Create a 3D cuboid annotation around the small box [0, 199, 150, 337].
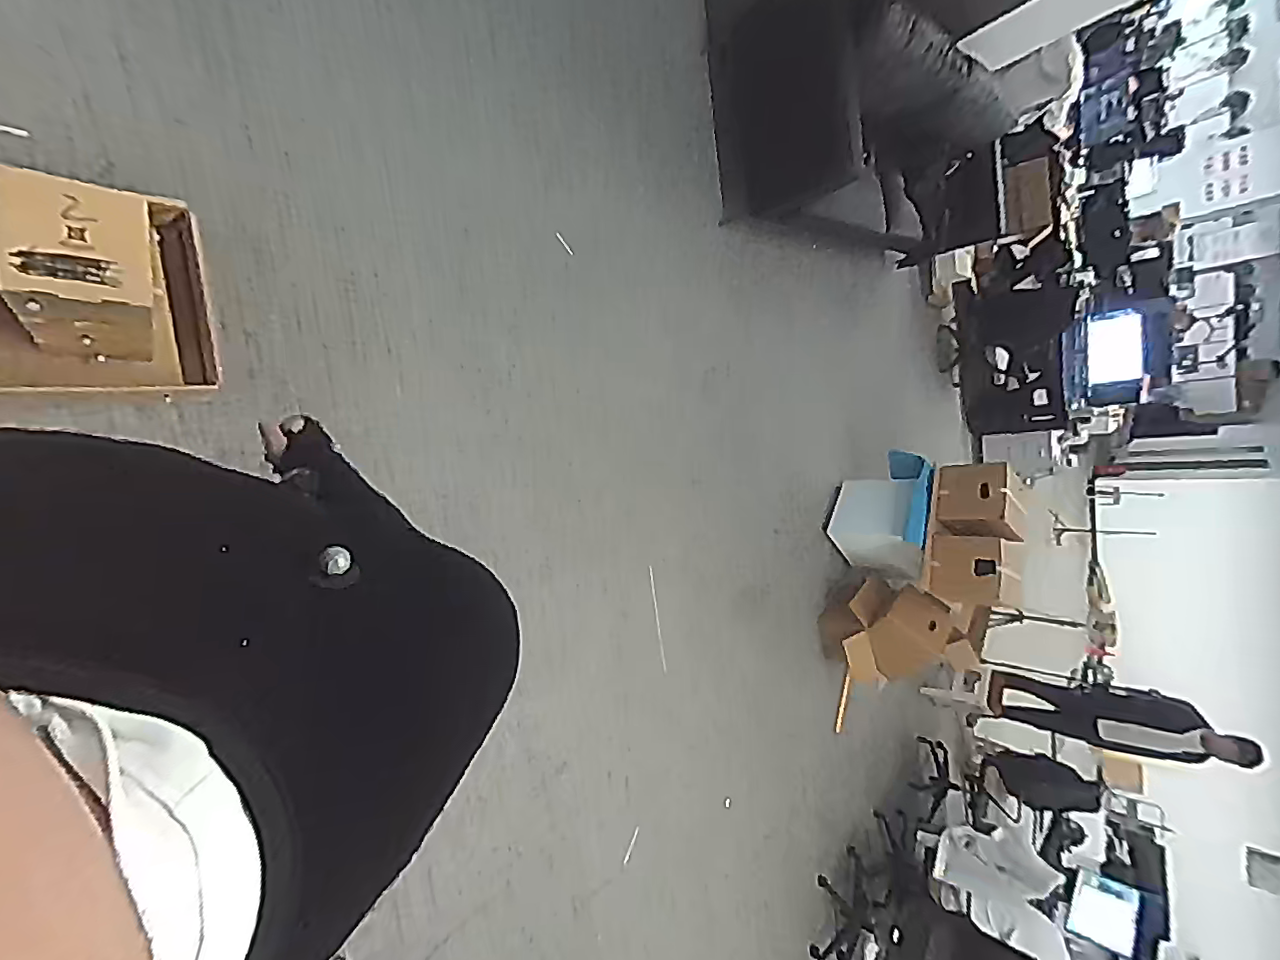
[{"bbox_3d":[-0.998,-0.364,0.963,0.168,0.176,0.179,-9,97,-43],"label":"small box"}]
